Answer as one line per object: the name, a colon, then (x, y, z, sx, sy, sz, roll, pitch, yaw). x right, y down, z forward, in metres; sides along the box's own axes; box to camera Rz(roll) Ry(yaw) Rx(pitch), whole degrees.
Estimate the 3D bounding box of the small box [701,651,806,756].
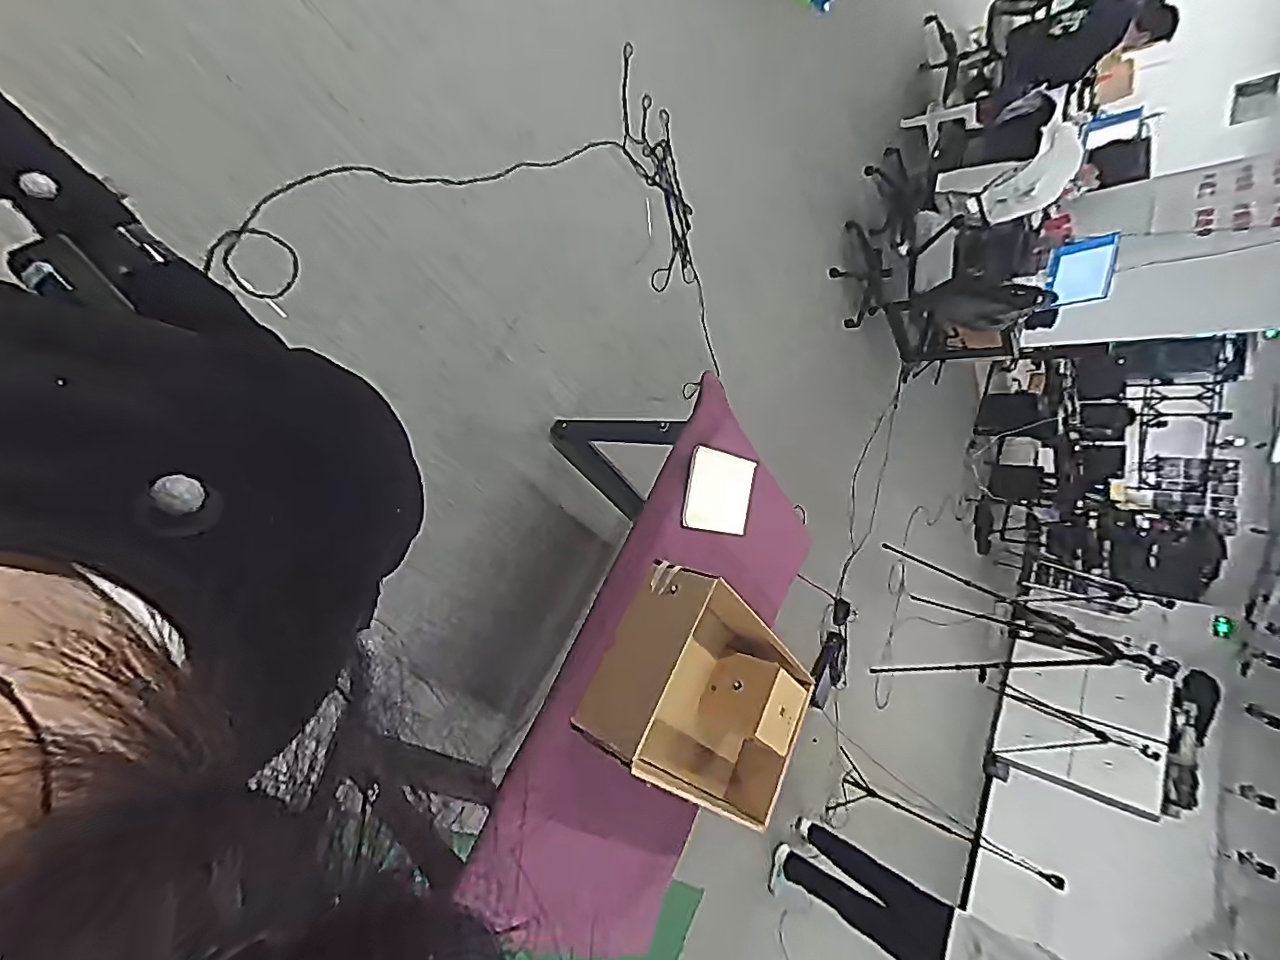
small box: (0.278, 0.544, 1.335, 0.179, 0.176, 0.168, 48, 62, -37)
